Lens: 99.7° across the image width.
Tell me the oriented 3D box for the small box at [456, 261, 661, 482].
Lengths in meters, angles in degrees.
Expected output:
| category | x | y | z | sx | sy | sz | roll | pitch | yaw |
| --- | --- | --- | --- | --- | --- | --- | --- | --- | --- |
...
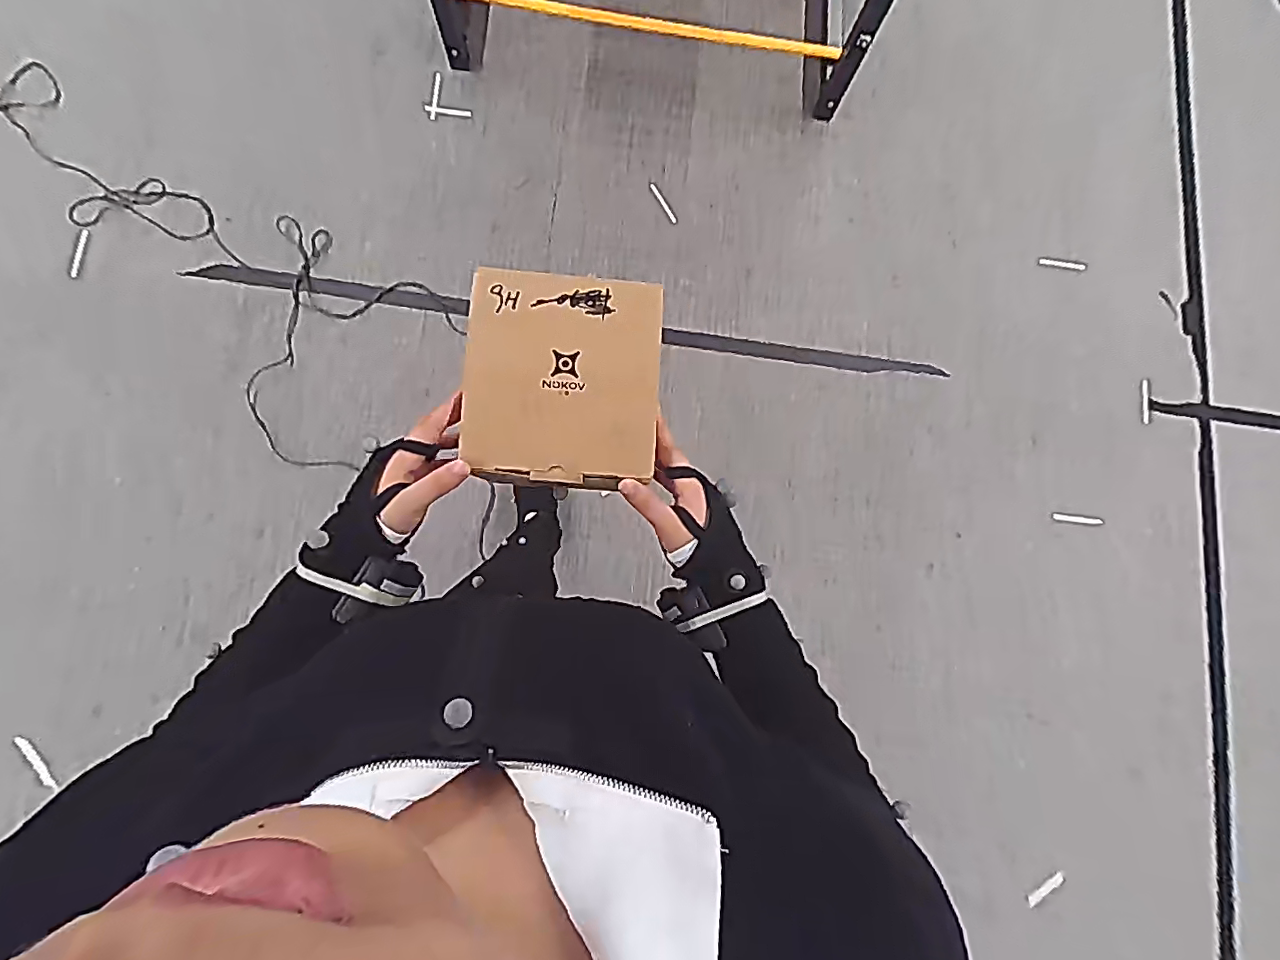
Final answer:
| category | x | y | z | sx | sy | sz | roll | pitch | yaw |
| --- | --- | --- | --- | --- | --- | --- | --- | --- | --- |
| small box | -0.074 | -0.091 | 0.541 | 0.168 | 0.176 | 0.179 | 4 | 86 | -5 |
